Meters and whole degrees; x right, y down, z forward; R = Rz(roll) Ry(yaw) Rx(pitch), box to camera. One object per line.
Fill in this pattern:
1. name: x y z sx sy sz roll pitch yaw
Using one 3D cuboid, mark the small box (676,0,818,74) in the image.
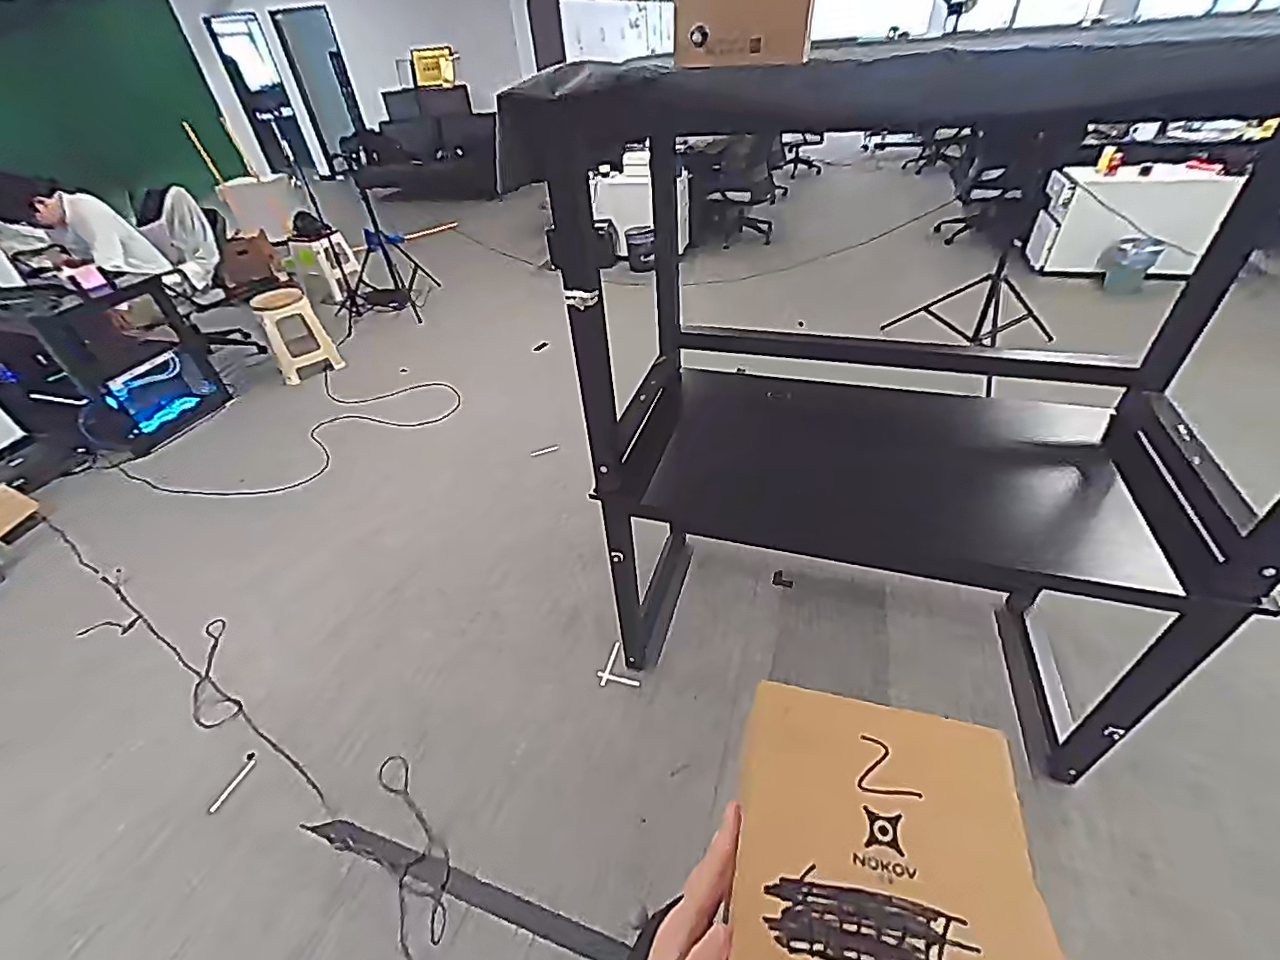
1. small box: 0.143 -0.633 0.696 0.168 0.176 0.179 8 39 13
